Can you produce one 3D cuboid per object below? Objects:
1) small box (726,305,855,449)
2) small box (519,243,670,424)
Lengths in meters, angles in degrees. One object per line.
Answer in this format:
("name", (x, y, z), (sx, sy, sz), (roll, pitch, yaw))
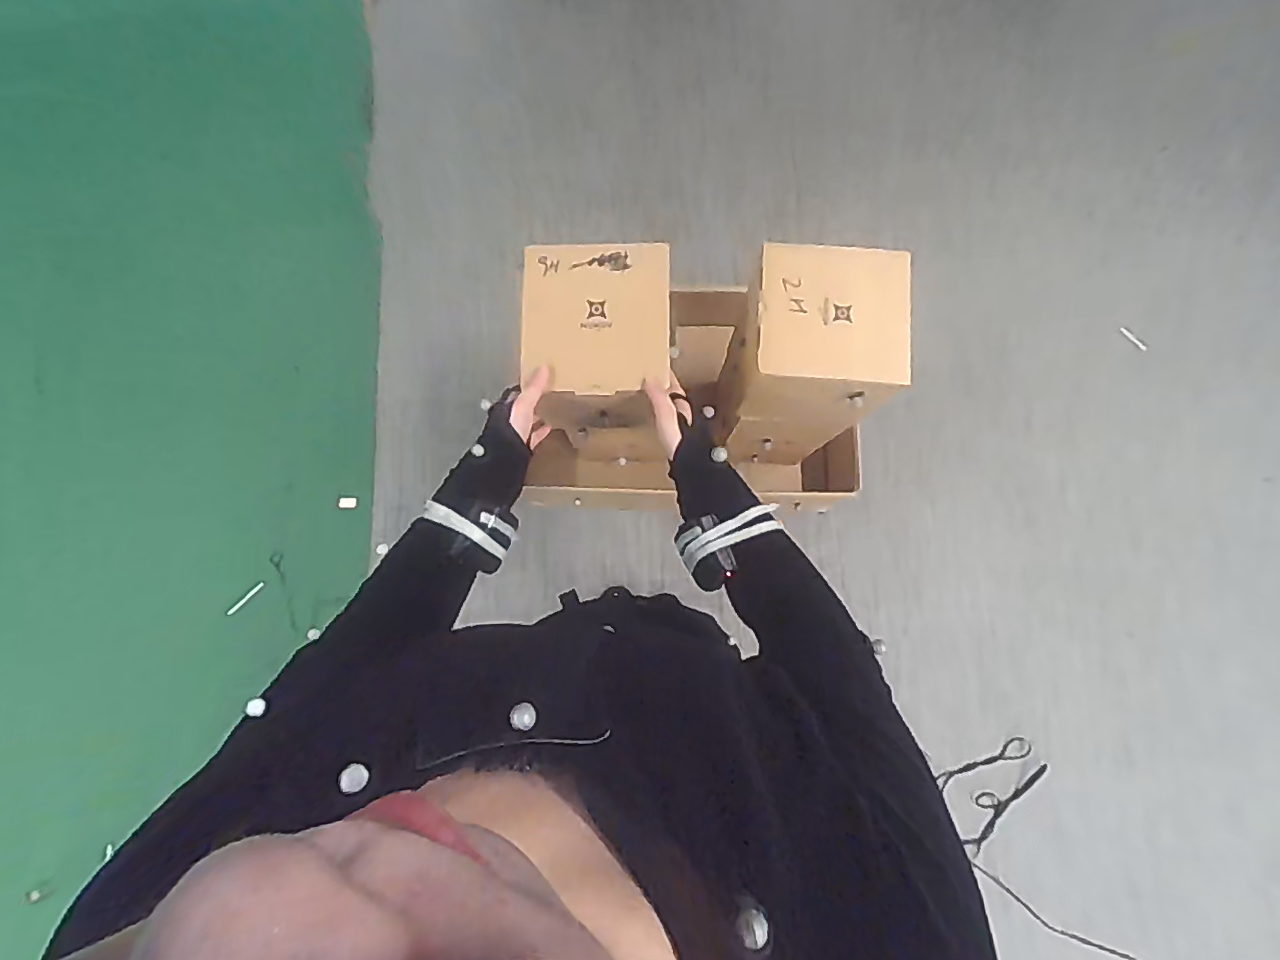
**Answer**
("small box", (0.231, -0.156, 0.862), (0.168, 0.176, 0.179), (3, 81, 2))
("small box", (-0.046, -0.169, 0.674), (0.168, 0.176, 0.179), (0, 83, 2))
